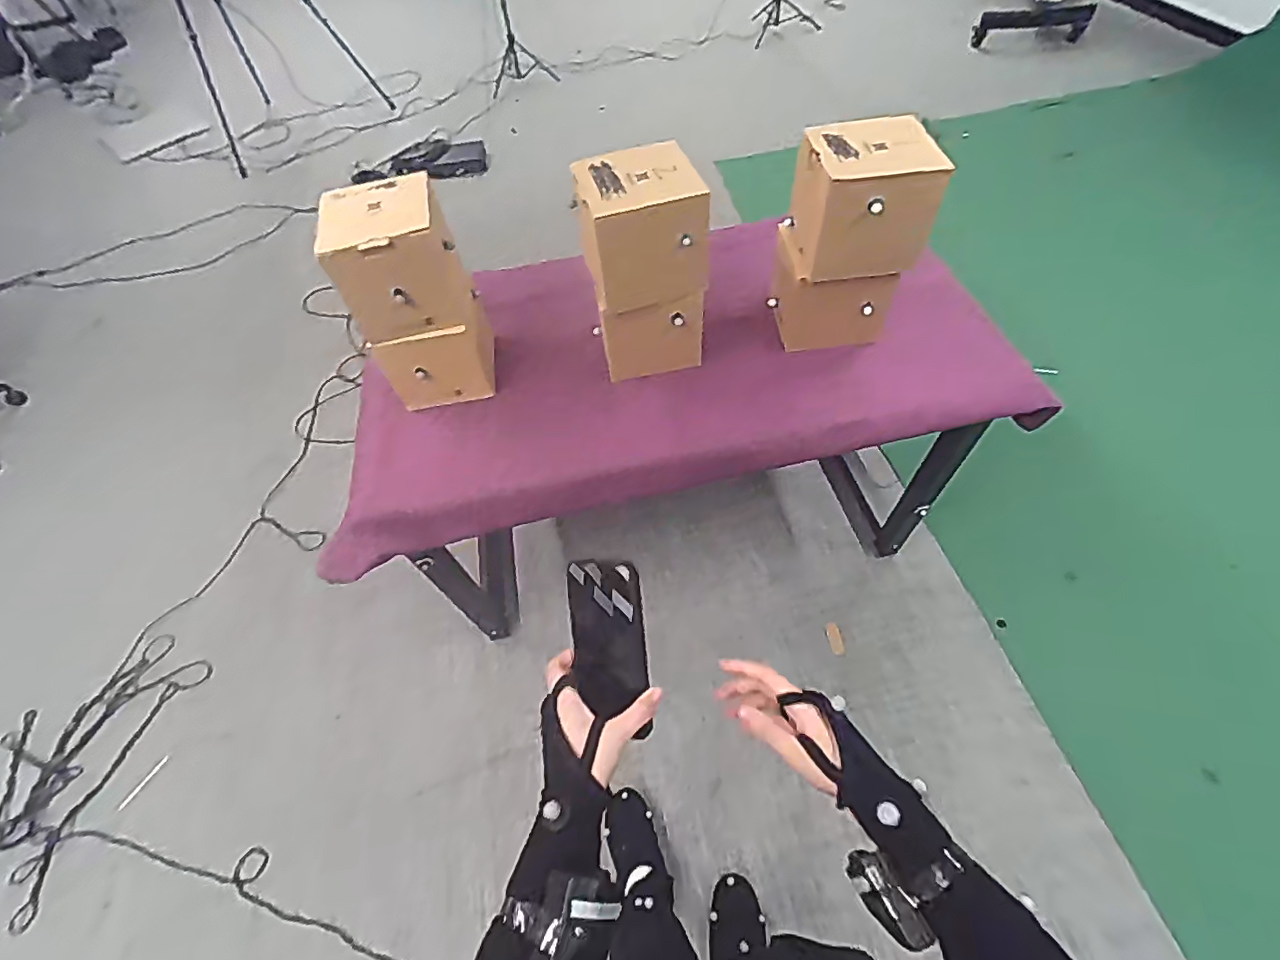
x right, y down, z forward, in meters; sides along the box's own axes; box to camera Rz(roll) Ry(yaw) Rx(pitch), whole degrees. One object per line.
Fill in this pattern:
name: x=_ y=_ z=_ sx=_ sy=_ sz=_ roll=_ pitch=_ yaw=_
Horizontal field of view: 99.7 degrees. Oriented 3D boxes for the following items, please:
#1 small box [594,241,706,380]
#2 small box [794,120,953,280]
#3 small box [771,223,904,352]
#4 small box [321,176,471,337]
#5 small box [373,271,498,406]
small box: x=0.018 y=-0.310 z=1.005 sx=0.179 sy=0.176 sz=0.168 roll=-11 pitch=56 yaw=-1
small box: x=0.353 y=-0.441 z=0.864 sx=0.179 sy=0.176 sz=0.168 roll=-5 pitch=56 yaw=1
small box: x=0.355 y=-0.361 z=1.008 sx=0.179 sy=0.176 sz=0.168 roll=-6 pitch=56 yaw=2
small box: x=-0.384 y=-0.352 z=0.875 sx=0.168 sy=0.176 sz=0.179 roll=-14 pitch=57 yaw=-5
small box: x=-0.369 y=-0.254 z=1.007 sx=0.168 sy=0.176 sz=0.179 roll=-10 pitch=56 yaw=-1
